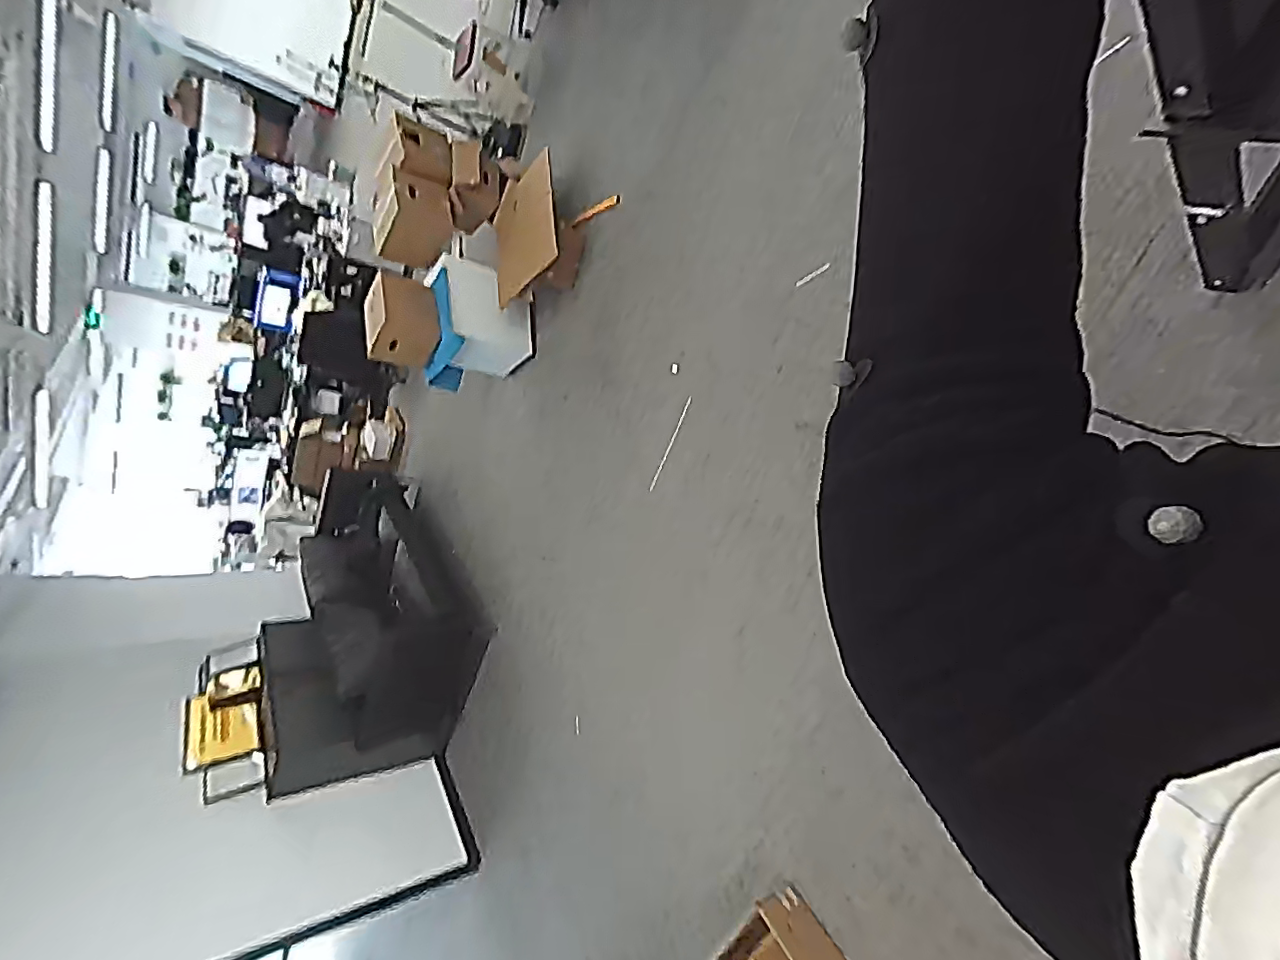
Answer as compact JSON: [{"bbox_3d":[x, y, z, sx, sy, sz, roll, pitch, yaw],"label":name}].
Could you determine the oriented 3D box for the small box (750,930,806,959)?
[{"bbox_3d":[0.439,1.604,1.734,0.168,0.176,0.179,46,119,42],"label":"small box"}]
